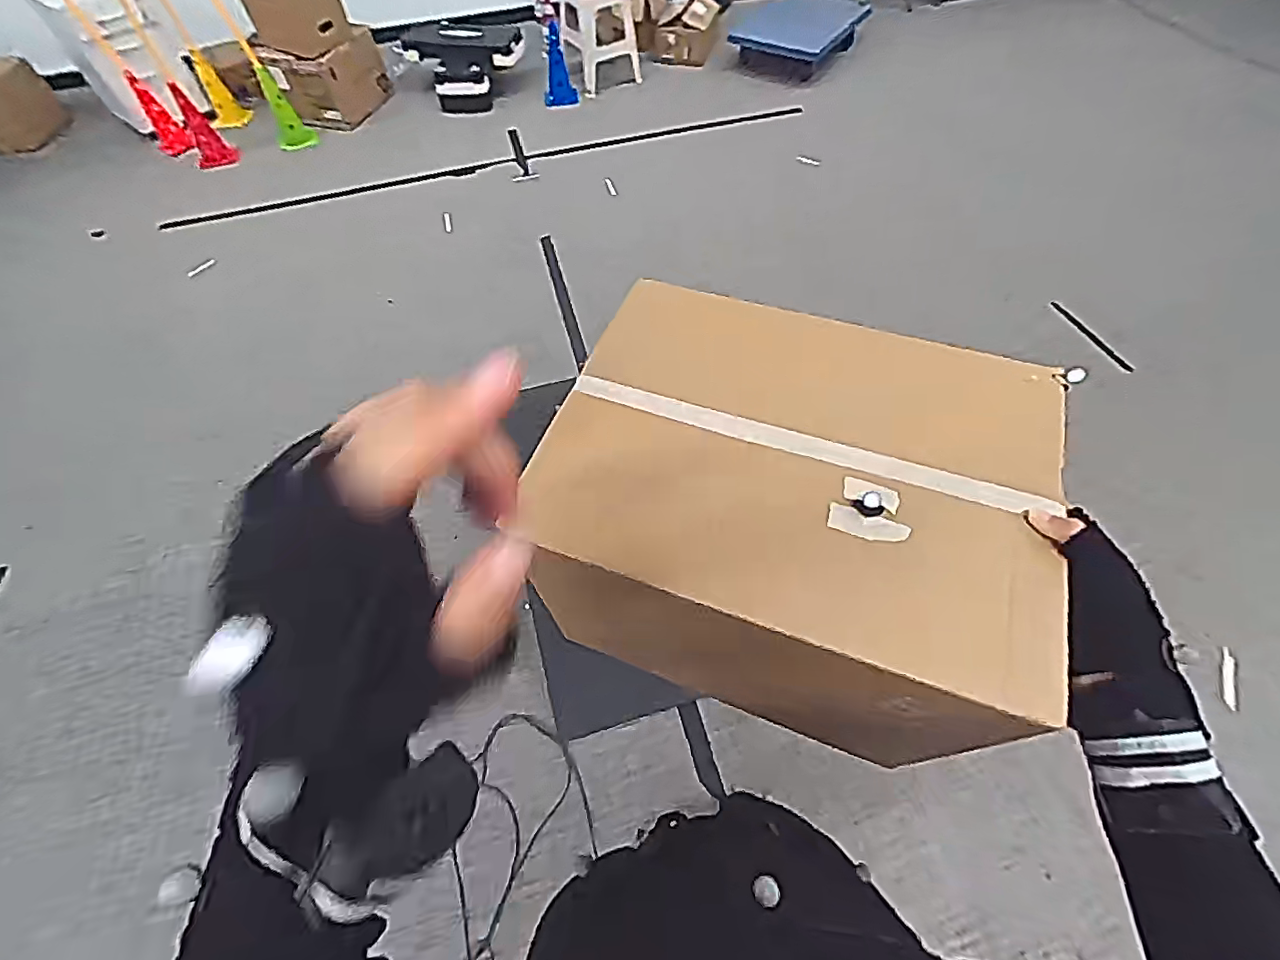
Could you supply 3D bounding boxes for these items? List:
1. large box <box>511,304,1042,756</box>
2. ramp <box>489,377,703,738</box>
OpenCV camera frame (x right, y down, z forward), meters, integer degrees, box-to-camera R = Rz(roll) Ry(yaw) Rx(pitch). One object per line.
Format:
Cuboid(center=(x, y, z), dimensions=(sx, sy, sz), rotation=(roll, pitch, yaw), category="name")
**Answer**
Cuboid(center=(0.134, 0.060, 0.595), dimensions=(0.408, 0.320, 0.320), rotation=(16, 61, 13), category="large box")
Cuboid(center=(-0.097, 0.135, 1.541), dimensions=(0.509, 0.206, 0.991), rotation=(-16, 58, -9), category="ramp")
